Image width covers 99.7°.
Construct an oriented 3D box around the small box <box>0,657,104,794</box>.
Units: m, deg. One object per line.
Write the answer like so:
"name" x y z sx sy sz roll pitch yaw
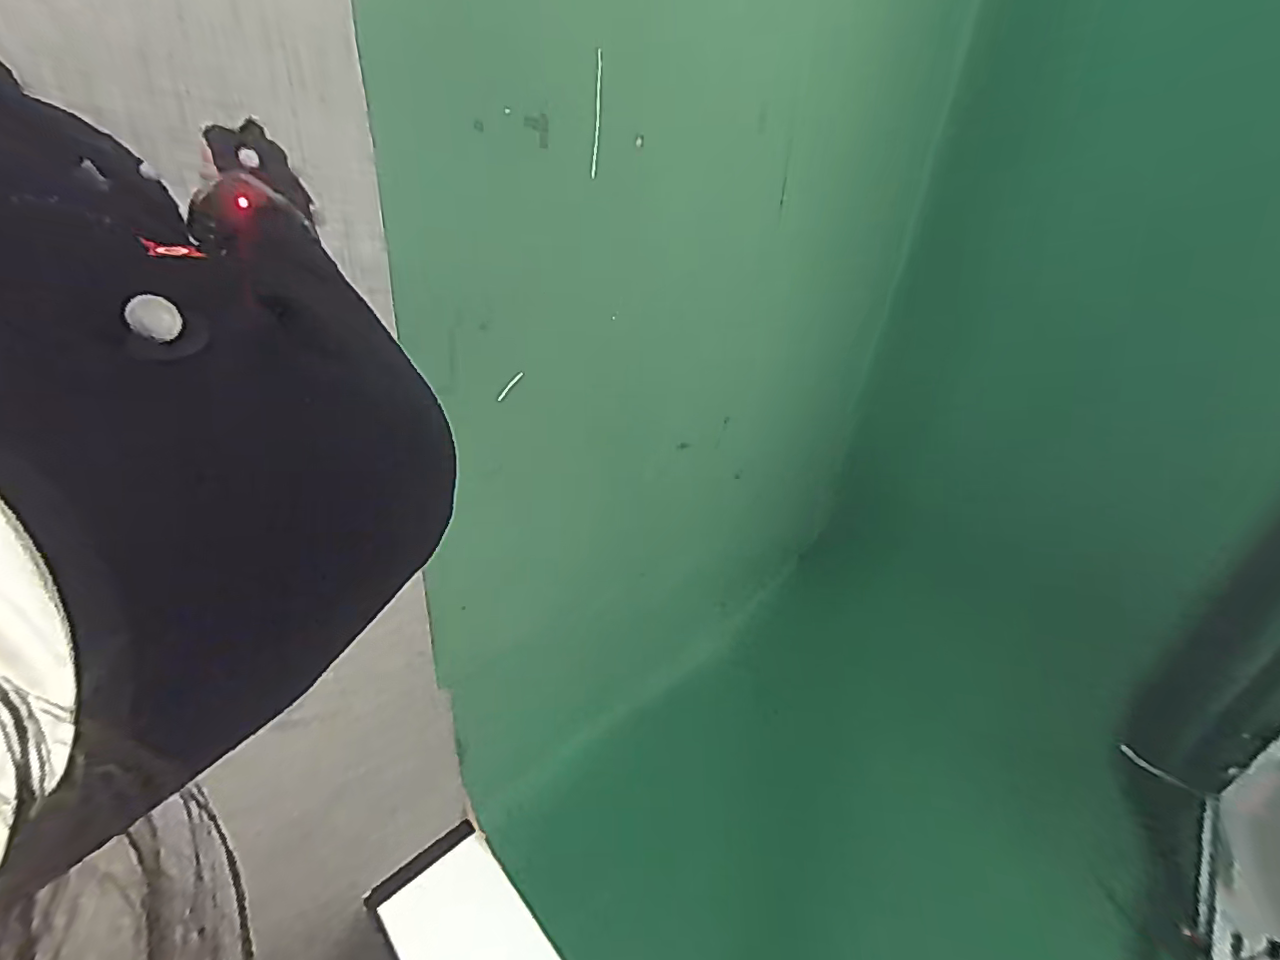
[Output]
"small box" -1.290 0.517 1.154 0.179 0.176 0.168 -17 126 -43
